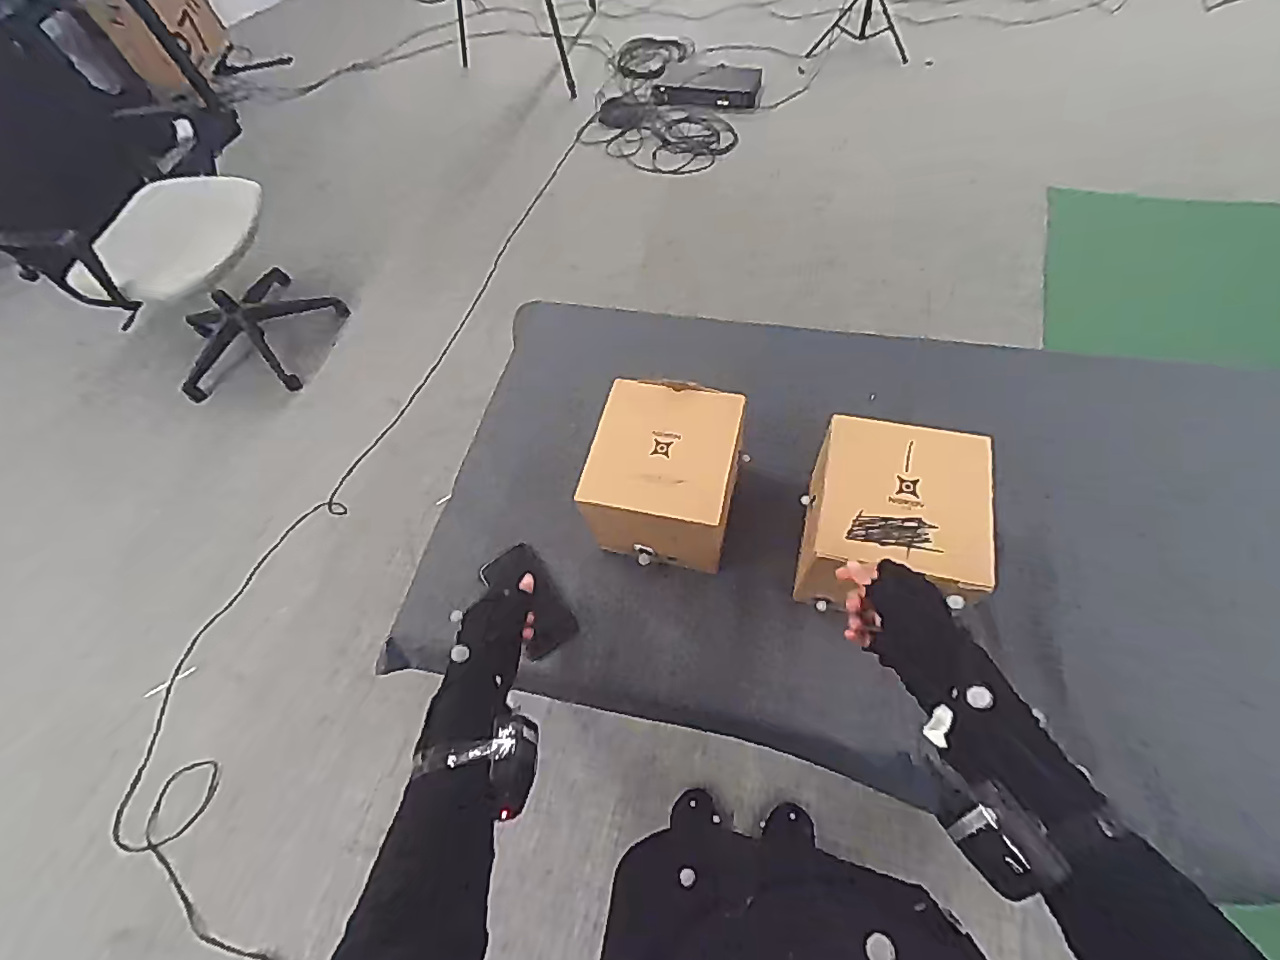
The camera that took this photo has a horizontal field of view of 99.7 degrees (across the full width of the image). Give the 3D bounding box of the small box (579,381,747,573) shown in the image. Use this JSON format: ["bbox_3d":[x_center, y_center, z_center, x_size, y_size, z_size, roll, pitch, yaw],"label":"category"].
[{"bbox_3d":[0.039,0.000,0.694,0.168,0.176,0.179,9,64,14],"label":"small box"}]

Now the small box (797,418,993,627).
[{"bbox_3d":[0.285,0.056,0.630,0.168,0.176,0.179,11,63,13],"label":"small box"}]
